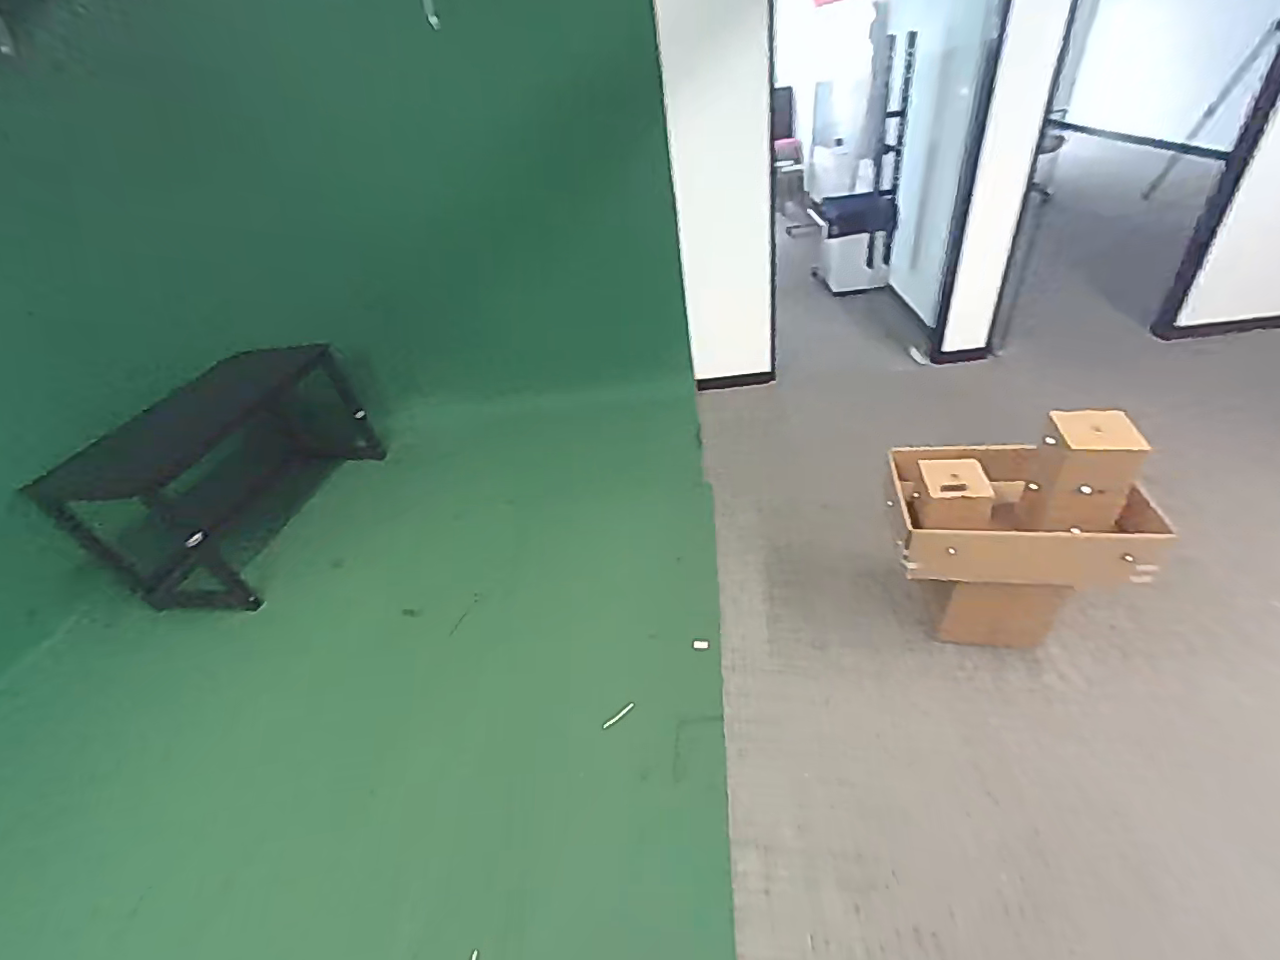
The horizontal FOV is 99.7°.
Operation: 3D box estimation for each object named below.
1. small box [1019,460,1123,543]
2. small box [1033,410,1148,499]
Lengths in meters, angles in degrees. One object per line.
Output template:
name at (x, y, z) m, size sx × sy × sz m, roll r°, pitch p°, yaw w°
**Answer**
small box at (1.210, 0.055, 1.536) m, size 0.168 × 0.176 × 0.179 m, roll 2°, pitch 40°, yaw 17°
small box at (1.181, -0.070, 1.437) m, size 0.168 × 0.176 × 0.179 m, roll 2°, pitch 40°, yaw 16°
